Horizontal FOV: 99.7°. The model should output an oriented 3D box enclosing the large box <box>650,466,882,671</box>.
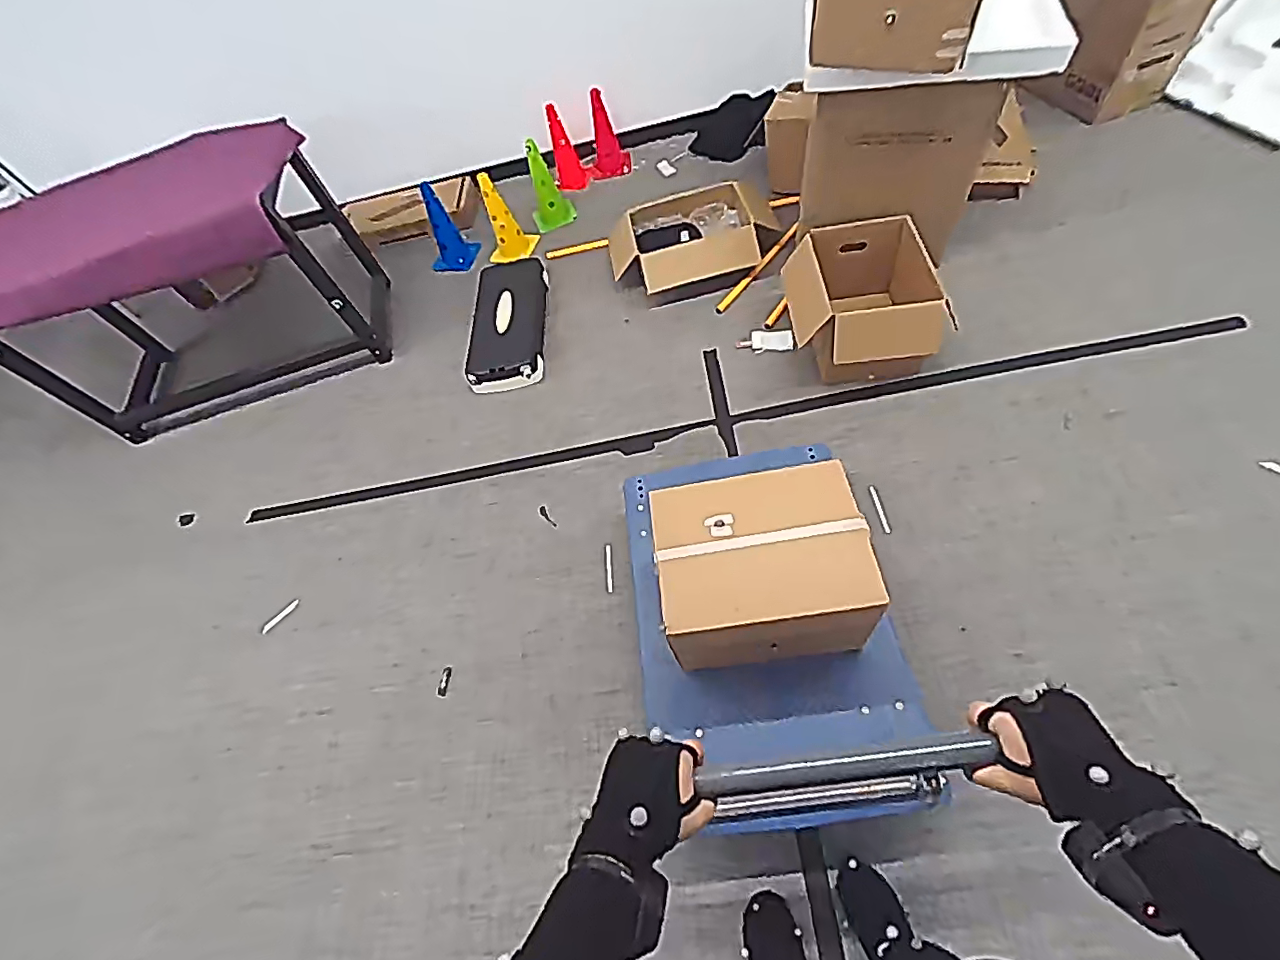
[{"bbox_3d":[0.260,0.211,1.198,0.408,0.320,0.320,-11,56,7],"label":"large box"}]
